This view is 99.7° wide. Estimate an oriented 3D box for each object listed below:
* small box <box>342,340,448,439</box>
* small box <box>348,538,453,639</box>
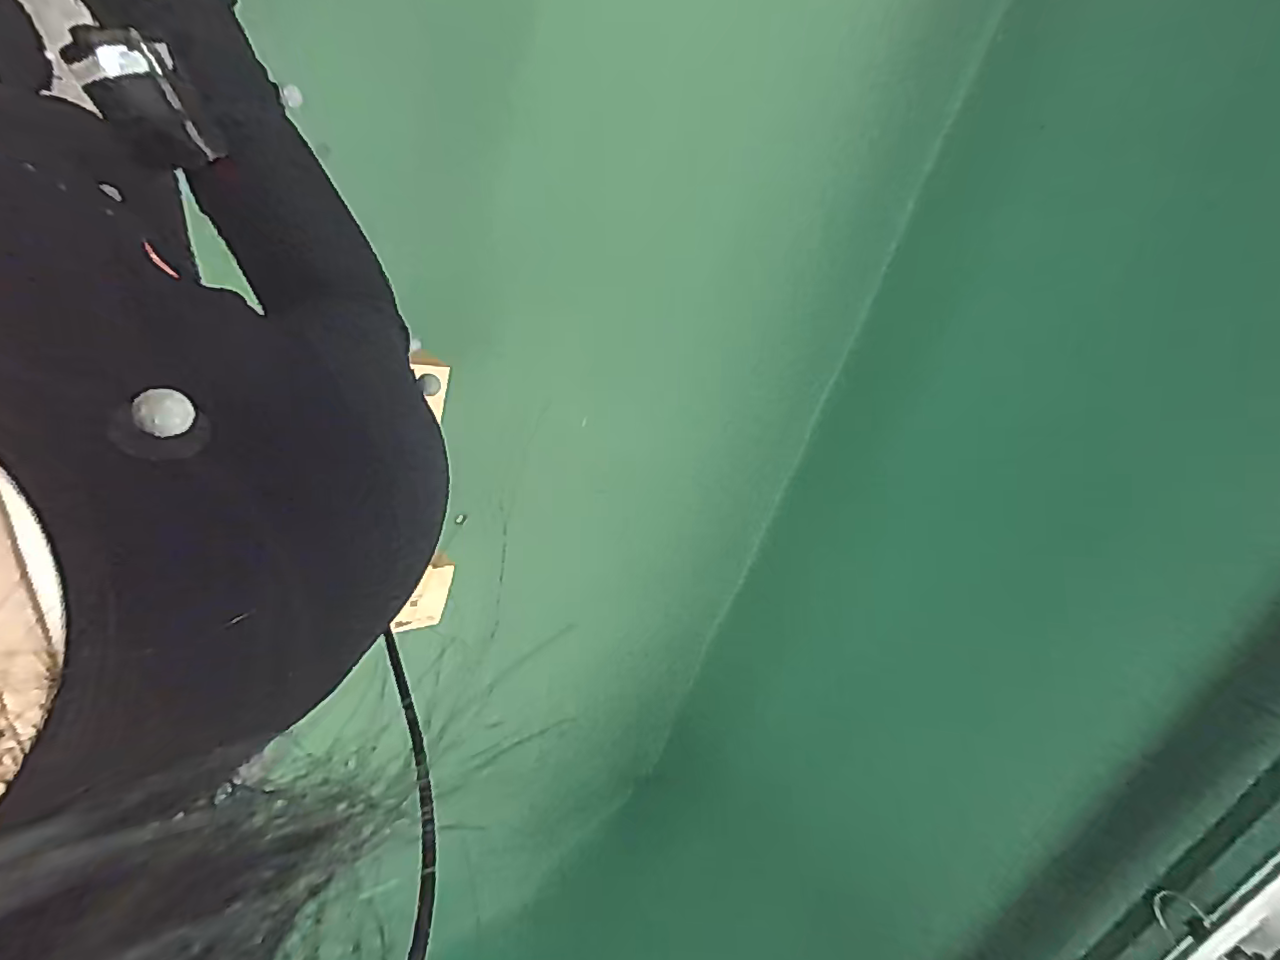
[{"bbox_3d":[-0.573,-0.208,1.254,0.168,0.176,0.179,-6,120,-47],"label":"small box"},{"bbox_3d":[-0.585,0.251,1.313,0.168,0.176,0.179,1,115,-49],"label":"small box"}]
